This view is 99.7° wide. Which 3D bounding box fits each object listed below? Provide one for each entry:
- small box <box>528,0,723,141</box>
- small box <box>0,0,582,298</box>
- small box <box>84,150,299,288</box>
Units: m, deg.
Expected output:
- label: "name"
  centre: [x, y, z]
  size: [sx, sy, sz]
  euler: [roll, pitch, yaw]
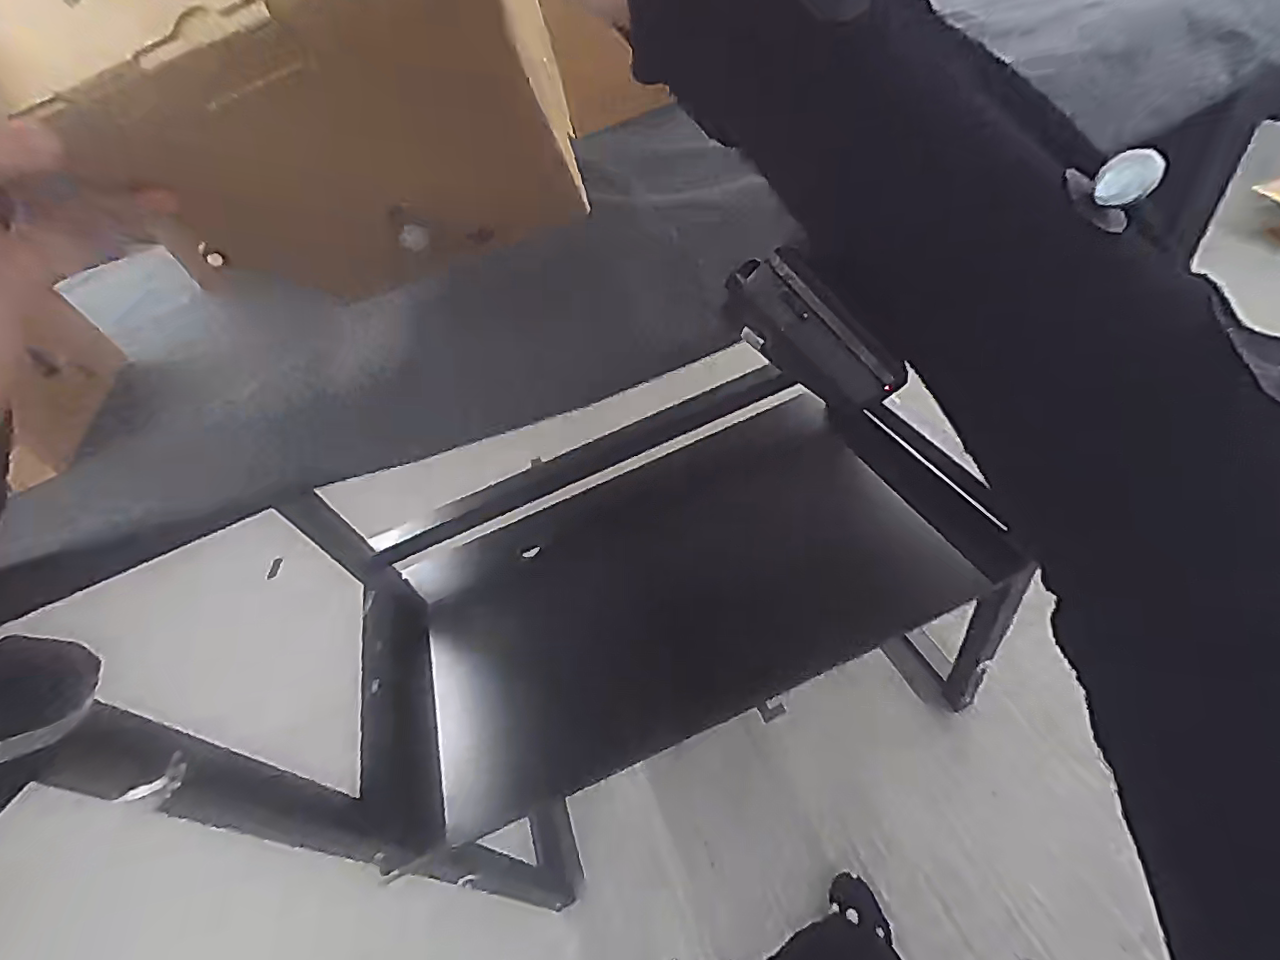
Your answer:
- label: "small box"
  centre: [-0.022, -0.495, 0.573]
  size: [0.179, 0.176, 0.168]
  euler: [-22, 45, 0]
- label: "small box"
  centre: [-0.142, -0.215, 0.250]
  size: [0.168, 0.176, 0.179]
  euler: [-18, 87, 8]
- label: "small box"
  centre: [-0.381, -0.313, 0.531]
  size: [0.168, 0.176, 0.179]
  euler: [-24, 44, -3]
